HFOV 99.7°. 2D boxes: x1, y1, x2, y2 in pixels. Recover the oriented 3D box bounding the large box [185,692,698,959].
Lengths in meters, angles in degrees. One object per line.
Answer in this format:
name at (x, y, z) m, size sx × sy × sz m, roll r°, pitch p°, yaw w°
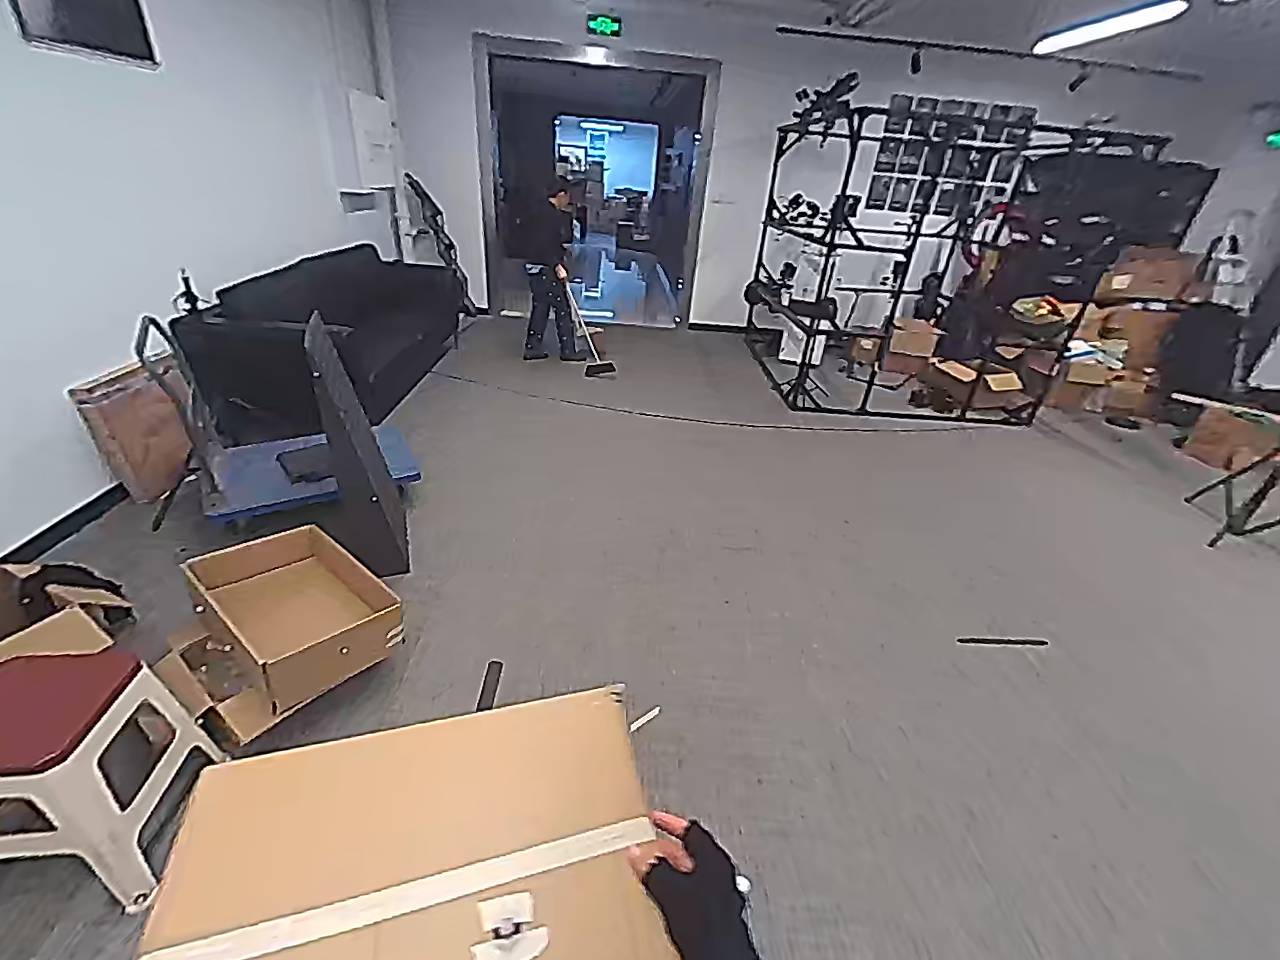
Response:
large box at (-0.182, 0.477, 0.563) m, size 0.408 × 0.320 × 0.320 m, roll -4°, pitch 38°, yaw -15°
